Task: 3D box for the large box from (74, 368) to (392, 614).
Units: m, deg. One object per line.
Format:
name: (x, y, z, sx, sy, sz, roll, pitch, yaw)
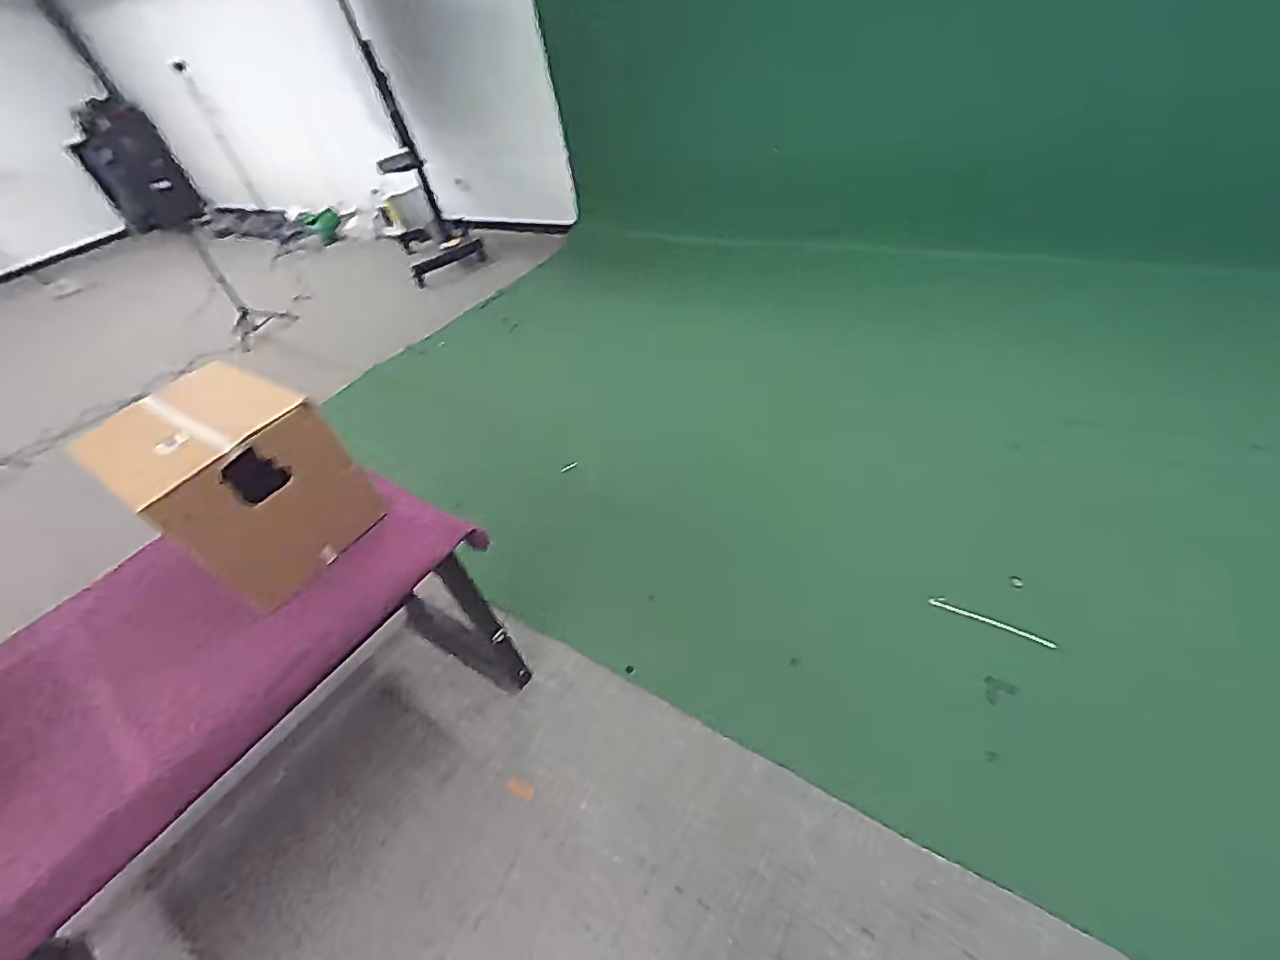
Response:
large box: (-0.818, 0.009, 1.124, 0.408, 0.320, 0.320, 19, 53, 29)
